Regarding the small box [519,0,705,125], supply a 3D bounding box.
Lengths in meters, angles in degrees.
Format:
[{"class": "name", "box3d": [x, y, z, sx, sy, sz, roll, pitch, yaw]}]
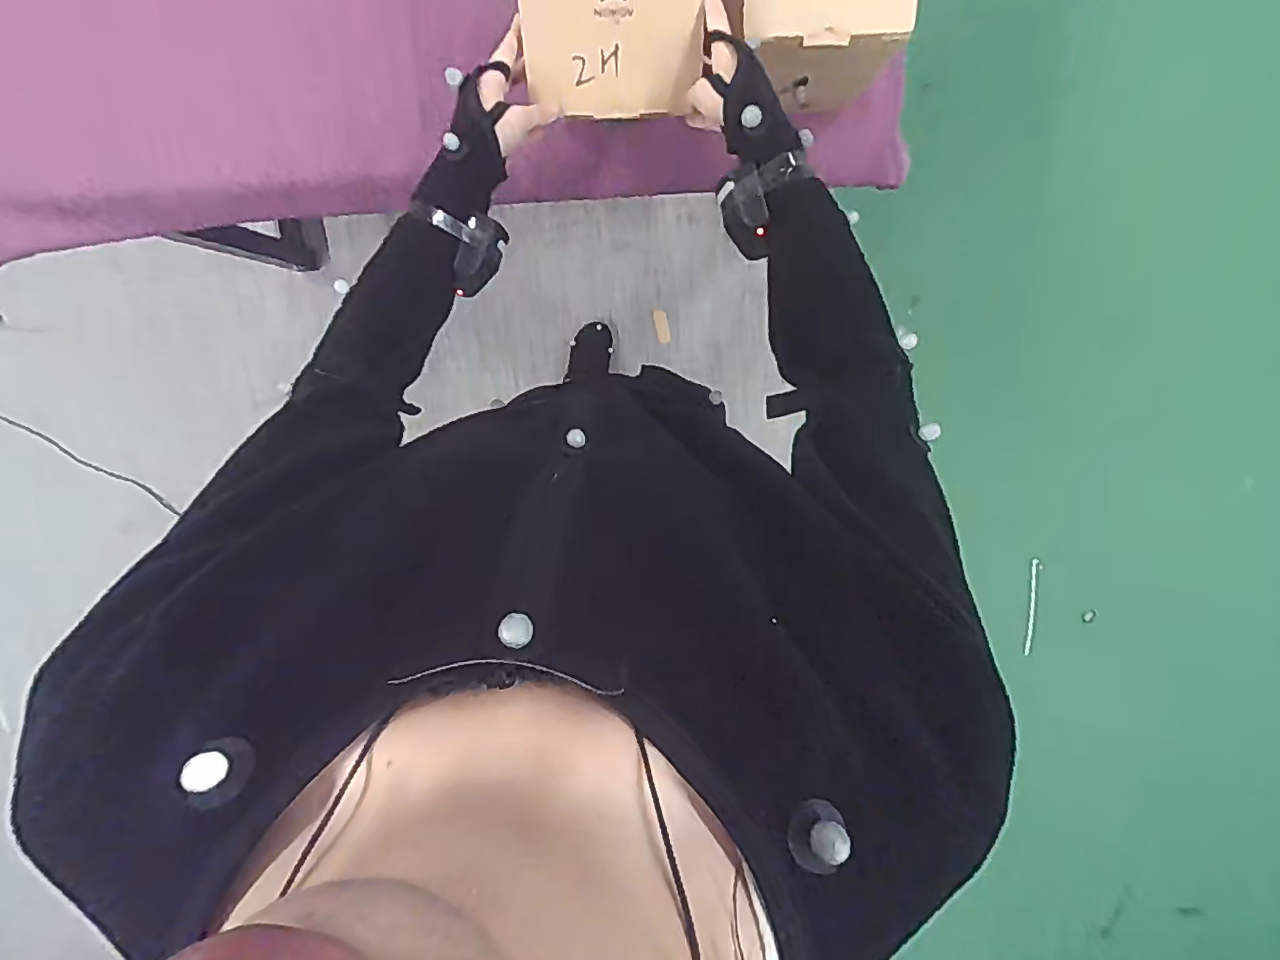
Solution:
[{"class": "small box", "box3d": [-0.031, -0.460, 0.538, 0.168, 0.176, 0.179, -3, 126, -3]}]
